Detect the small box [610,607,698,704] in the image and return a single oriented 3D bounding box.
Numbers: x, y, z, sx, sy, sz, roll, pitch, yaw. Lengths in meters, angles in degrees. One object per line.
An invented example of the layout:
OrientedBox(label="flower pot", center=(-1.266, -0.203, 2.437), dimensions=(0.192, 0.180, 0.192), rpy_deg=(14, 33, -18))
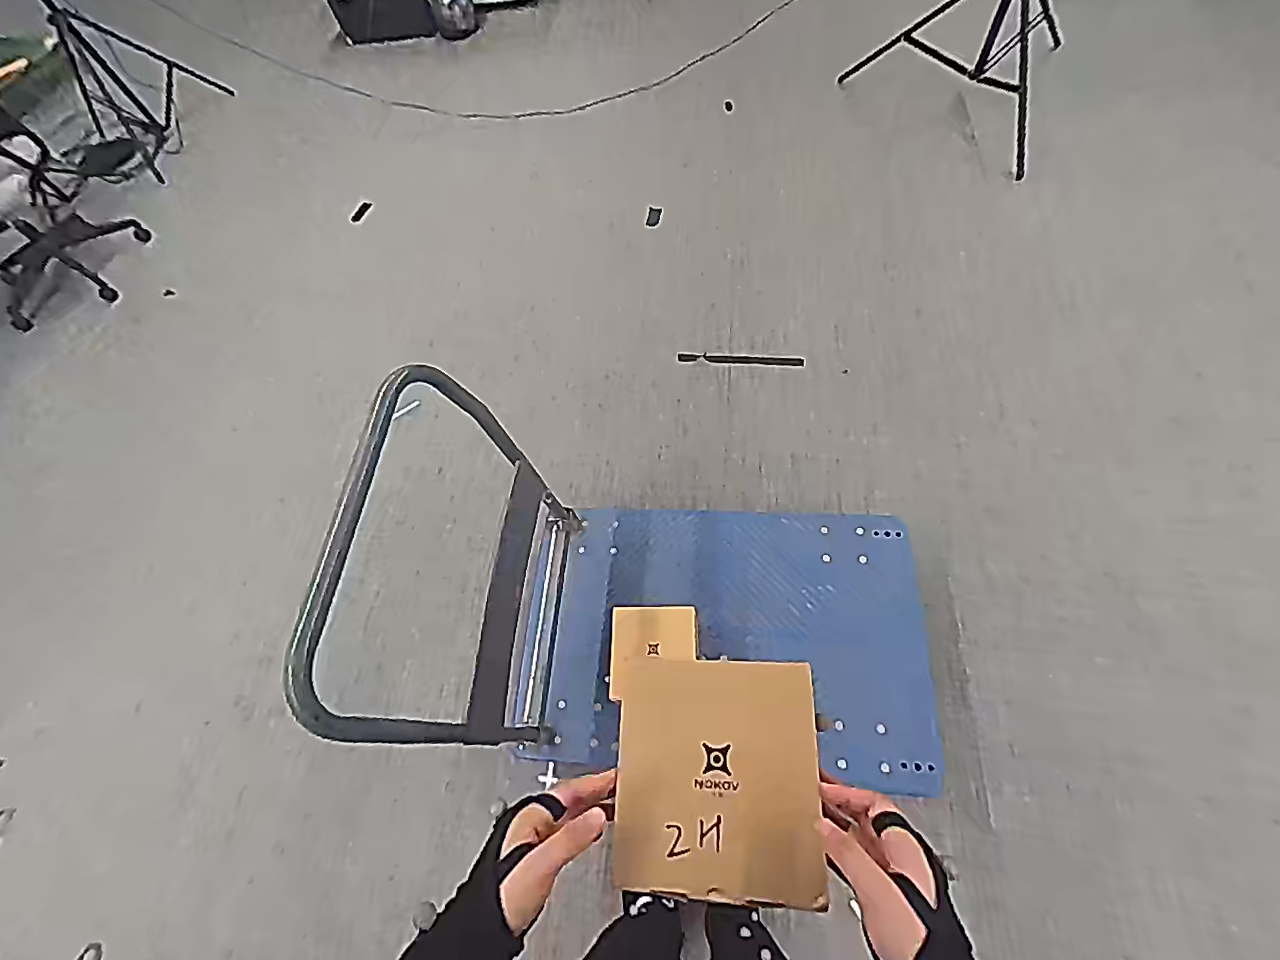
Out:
OrientedBox(label="small box", center=(0.034, 0.367, 1.108), dimensions=(0.168, 0.176, 0.179), rpy_deg=(-3, 63, 6))

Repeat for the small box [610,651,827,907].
OrientedBox(label="small box", center=(0.075, 0.267, 0.512), dimensions=(0.168, 0.176, 0.179), rpy_deg=(-2, 65, 11))
